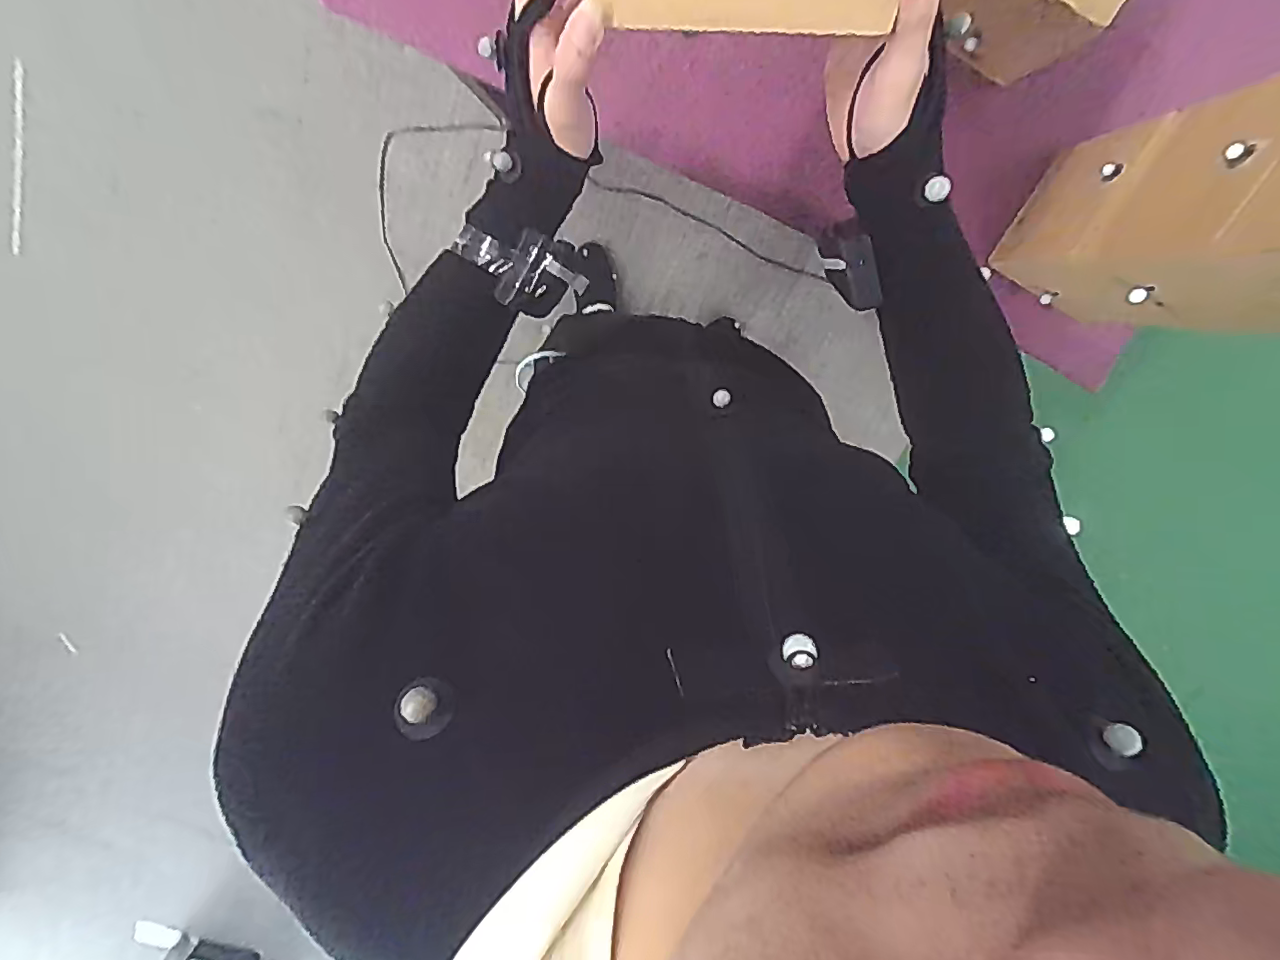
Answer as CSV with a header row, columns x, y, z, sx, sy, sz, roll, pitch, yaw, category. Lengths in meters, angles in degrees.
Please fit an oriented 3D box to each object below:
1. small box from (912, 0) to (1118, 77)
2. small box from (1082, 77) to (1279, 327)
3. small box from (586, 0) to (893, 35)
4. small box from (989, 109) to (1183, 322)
x,y,z,sx,sy,sz,roll,pitch,yaw,category
0.441,-0.599,0.592,0.168,0.176,0.179,27,109,-8,small box
0.609,-0.271,0.536,0.168,0.176,0.179,27,108,-7,small box
0.056,-0.364,0.283,0.168,0.176,0.179,1,138,0,small box
0.608,-0.323,0.691,0.179,0.176,0.168,26,107,-9,small box
